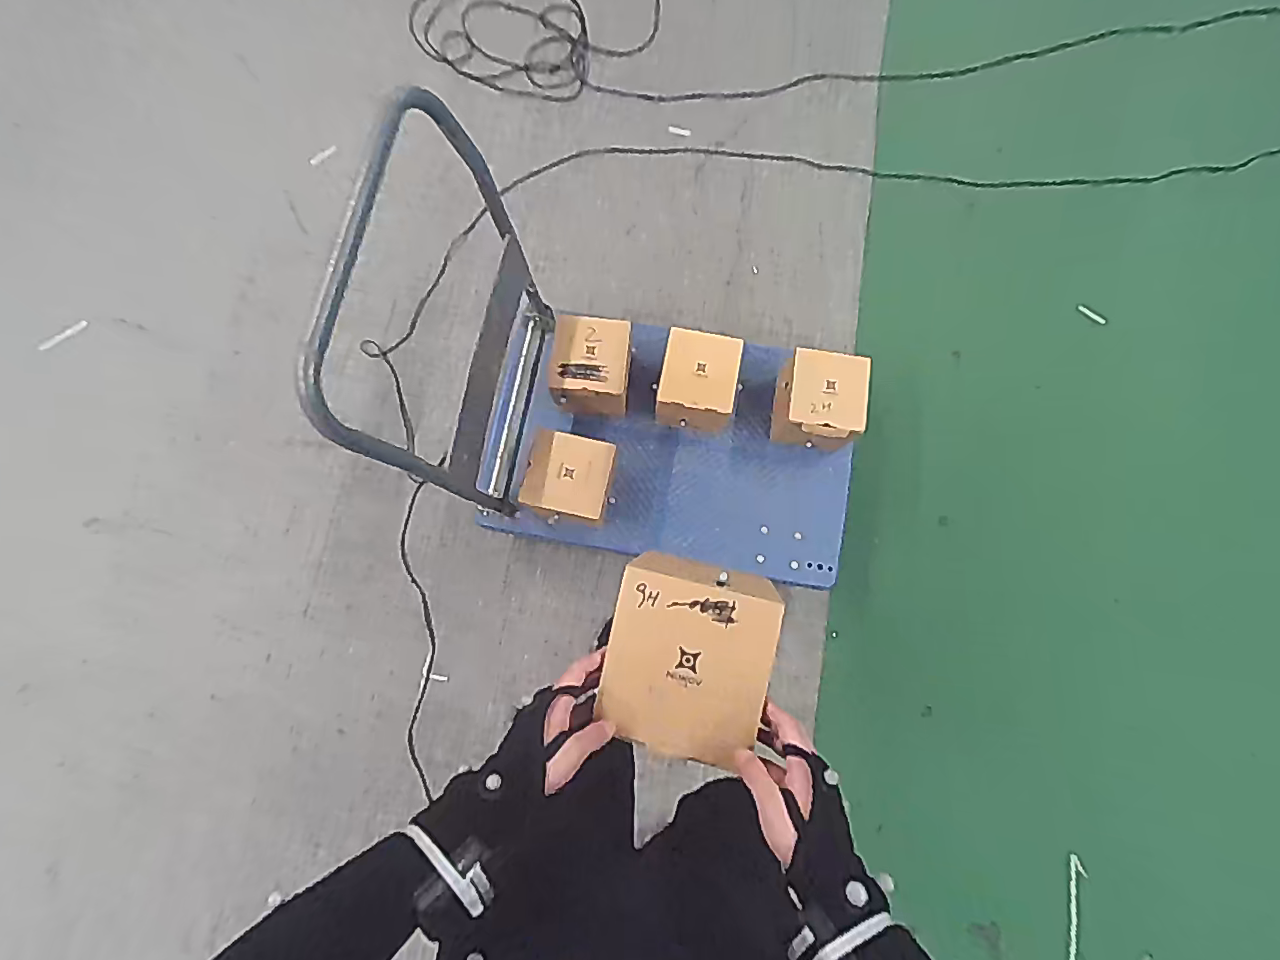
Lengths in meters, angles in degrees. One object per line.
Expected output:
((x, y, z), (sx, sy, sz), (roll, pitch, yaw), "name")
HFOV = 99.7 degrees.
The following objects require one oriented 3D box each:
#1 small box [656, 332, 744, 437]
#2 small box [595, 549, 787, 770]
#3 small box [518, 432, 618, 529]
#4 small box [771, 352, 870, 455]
((0.133, -0.216, 1.257), (0.168, 0.176, 0.179), (11, 80, 1), "small box")
((0.062, 0.189, 0.627), (0.168, 0.176, 0.179), (14, 91, 8), "small box")
((-0.151, 0.009, 1.205), (0.179, 0.176, 0.168), (13, 79, 1), "small box")
((0.410, -0.171, 1.249), (0.168, 0.176, 0.179), (10, 79, 2), "small box")
